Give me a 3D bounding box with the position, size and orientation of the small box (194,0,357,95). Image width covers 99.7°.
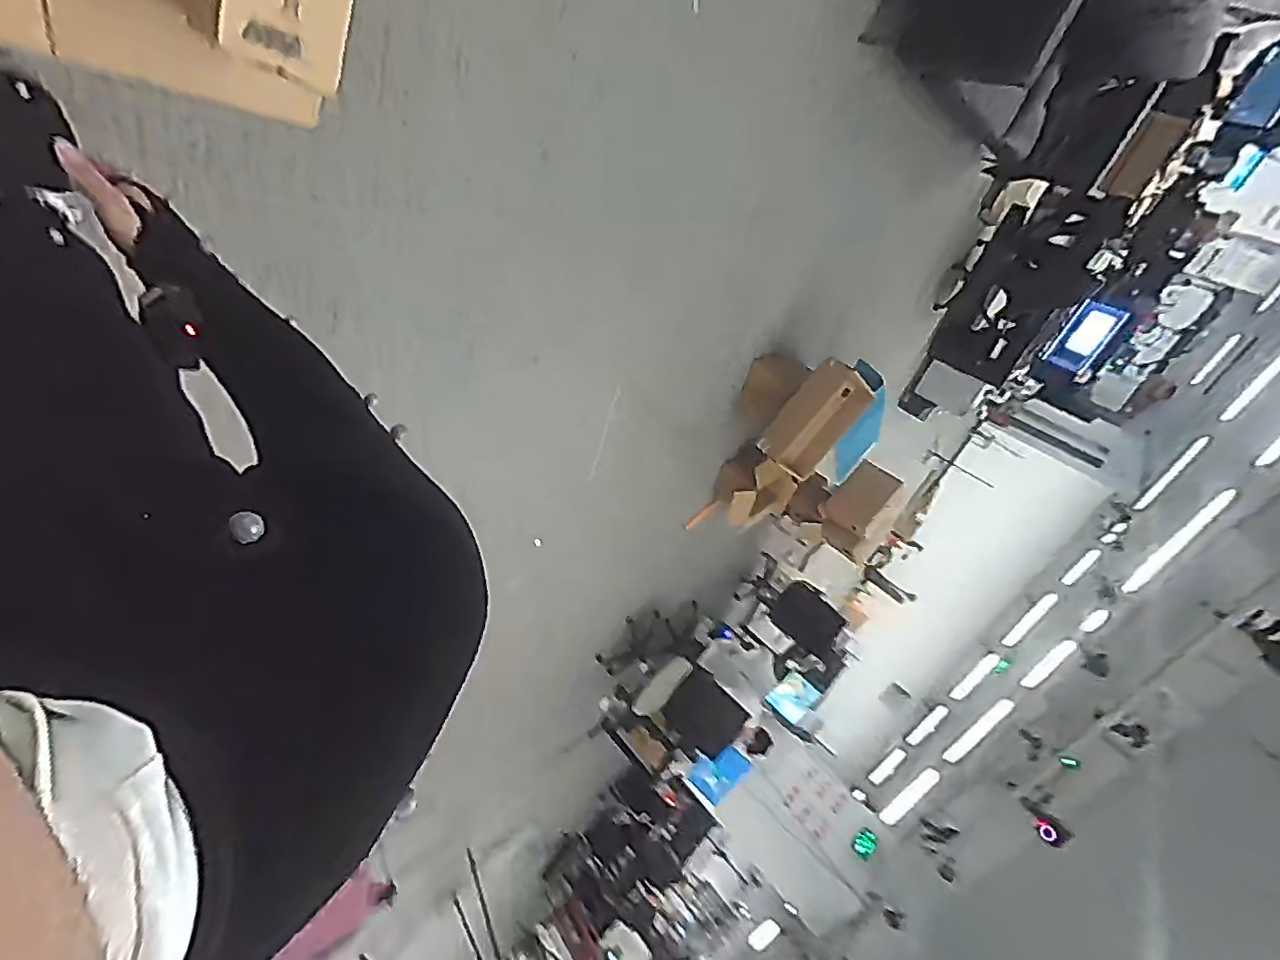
[{"bbox_3d":[-0.573,-0.754,0.849,0.168,0.176,0.179,-4,126,-52],"label":"small box"}]
